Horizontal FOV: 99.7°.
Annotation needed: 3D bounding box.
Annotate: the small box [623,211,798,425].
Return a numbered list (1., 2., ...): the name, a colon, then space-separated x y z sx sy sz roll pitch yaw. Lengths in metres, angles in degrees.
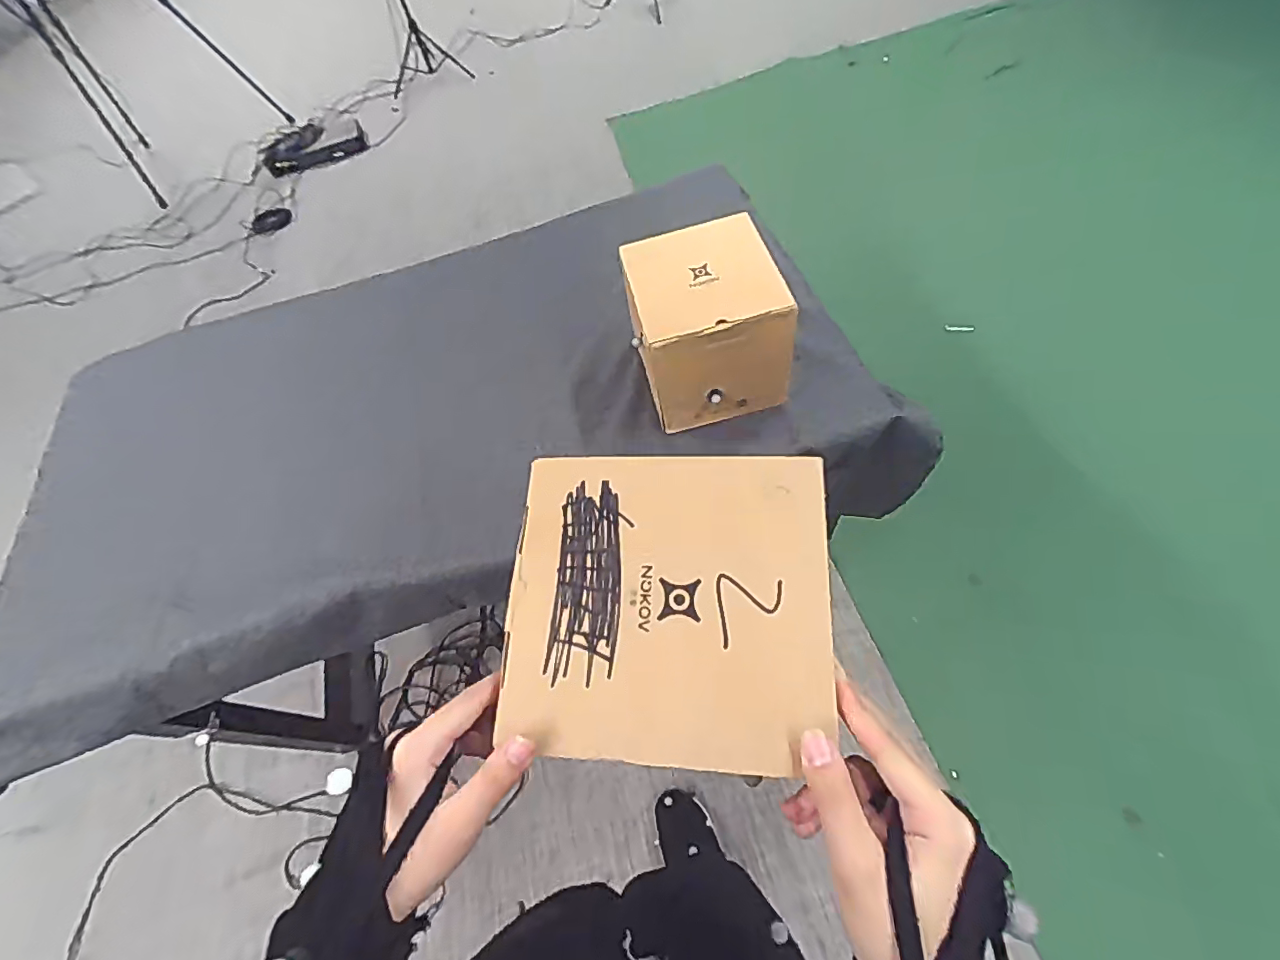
1. small box: 0.083 -0.199 0.686 0.168 0.176 0.179 -15 59 1
